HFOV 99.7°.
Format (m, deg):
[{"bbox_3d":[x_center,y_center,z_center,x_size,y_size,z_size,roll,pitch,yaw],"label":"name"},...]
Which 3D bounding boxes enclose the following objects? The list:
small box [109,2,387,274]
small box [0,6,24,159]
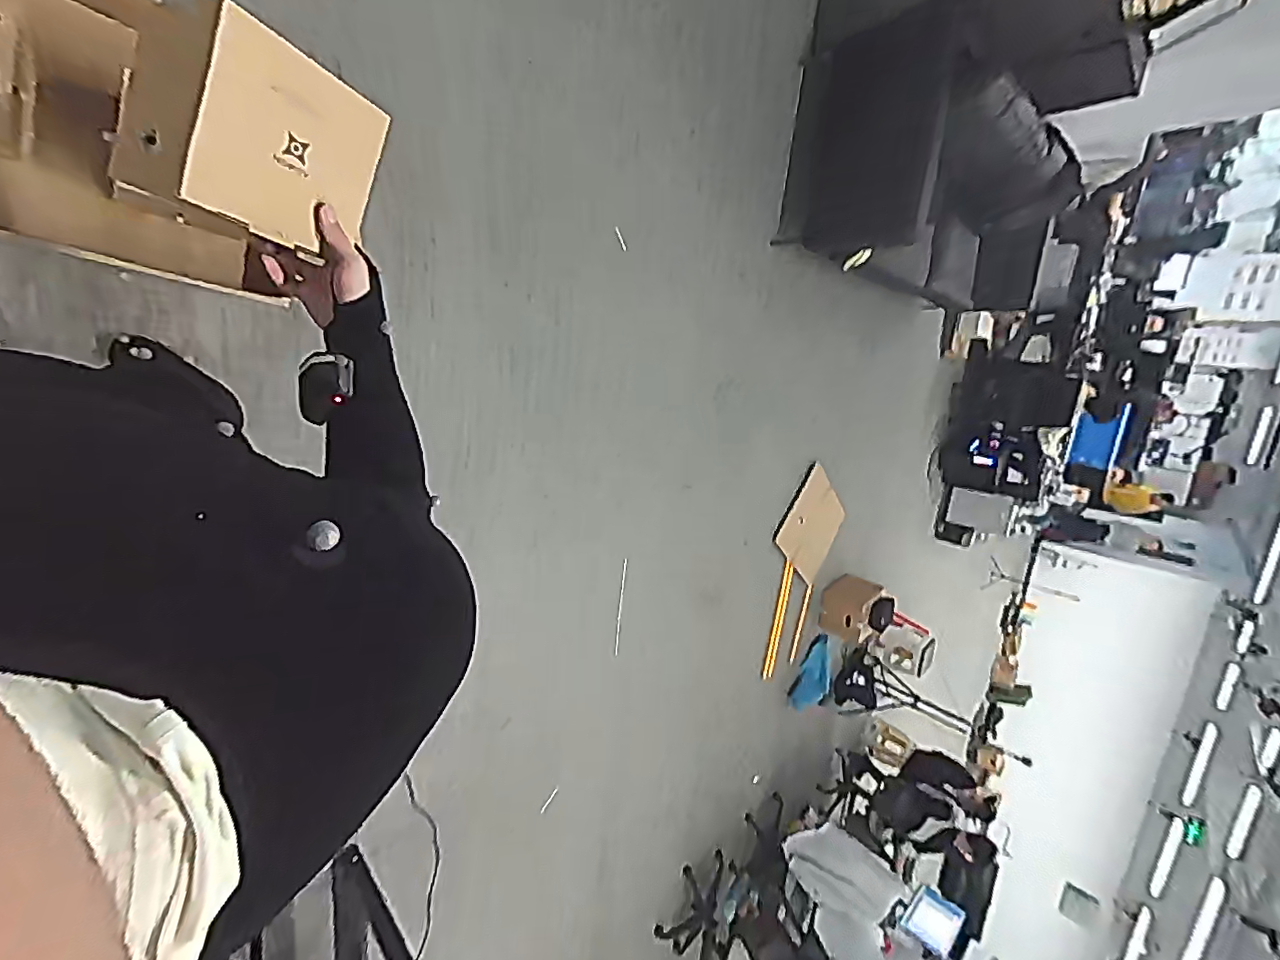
[{"bbox_3d":[-0.412,-0.349,0.571,0.168,0.176,0.179,6,106,-64],"label":"small box"},{"bbox_3d":[-0.932,-0.540,0.686,0.179,0.176,0.168,8,96,-46],"label":"small box"}]
